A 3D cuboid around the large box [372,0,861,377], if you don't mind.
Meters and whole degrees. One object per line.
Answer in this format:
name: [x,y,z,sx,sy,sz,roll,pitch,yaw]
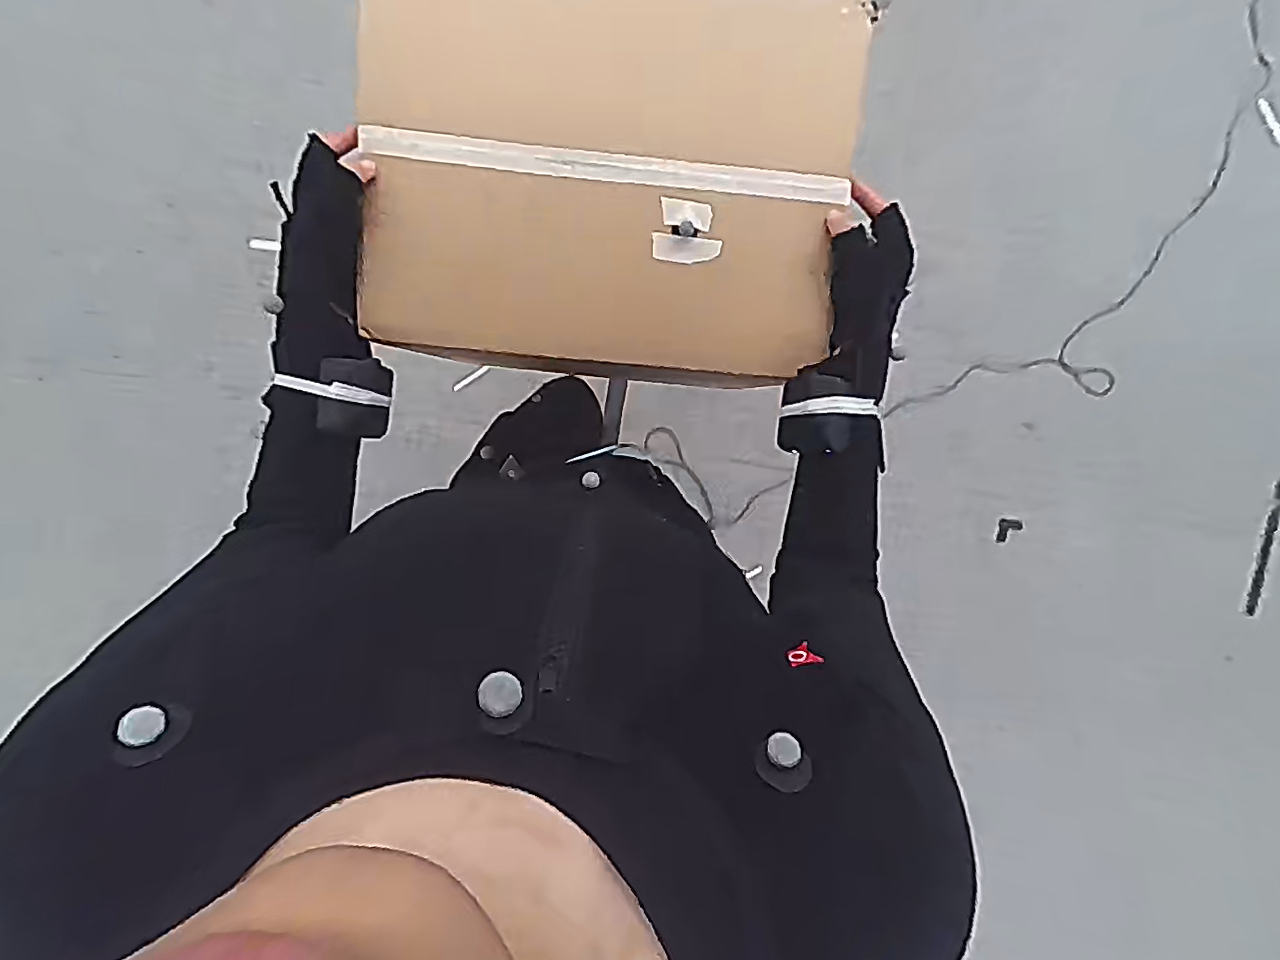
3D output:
large box: [-0.033,-0.289,0.605,0.408,0.320,0.320,4,100,-4]
